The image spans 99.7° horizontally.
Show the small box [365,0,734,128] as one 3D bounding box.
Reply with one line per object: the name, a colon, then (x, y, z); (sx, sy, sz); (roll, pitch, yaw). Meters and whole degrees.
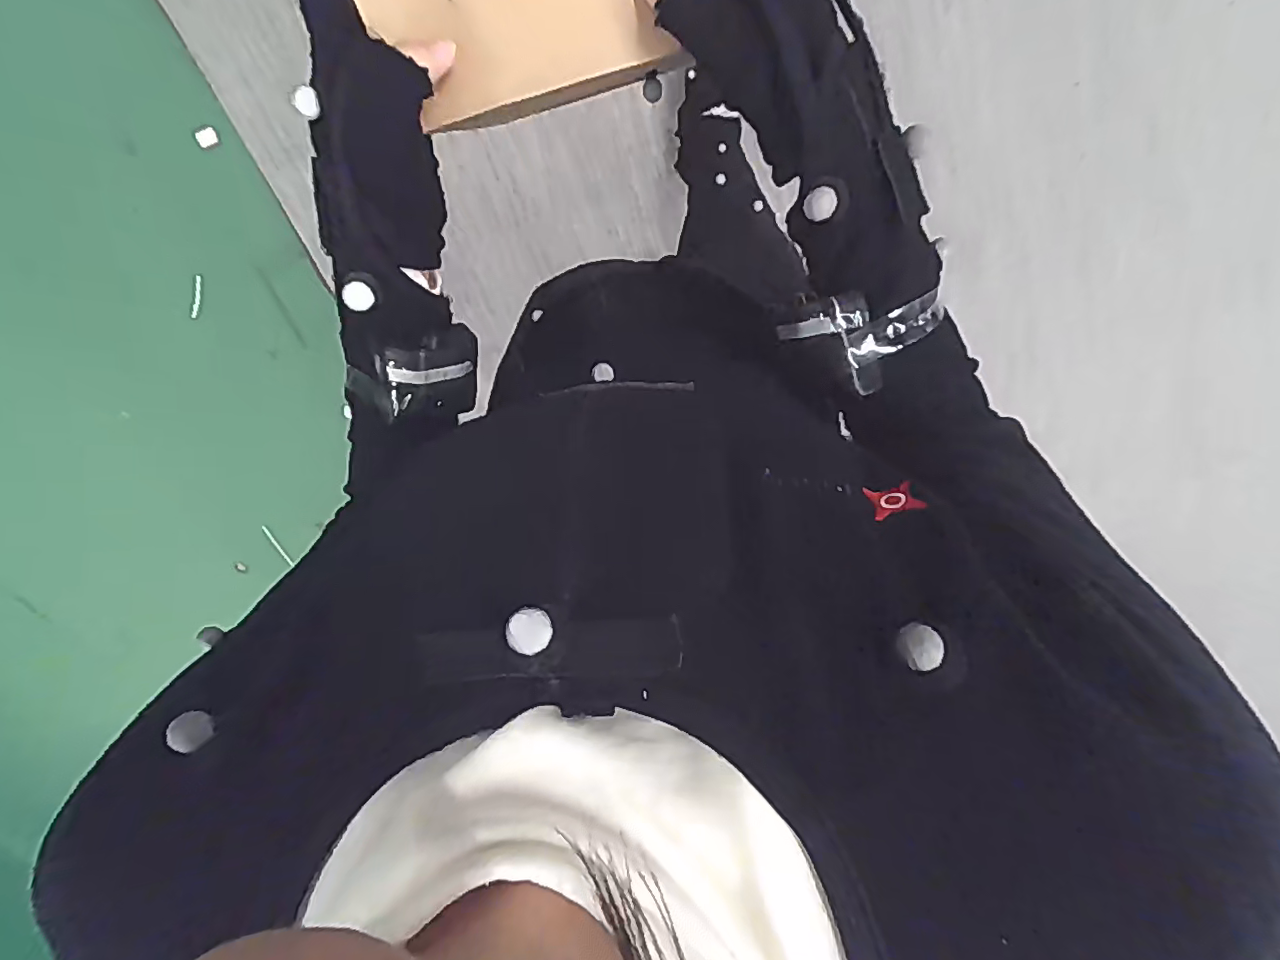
small box: (-0.054, -0.317, 0.299); (0.179, 0.176, 0.168); (-11, 123, 12)
